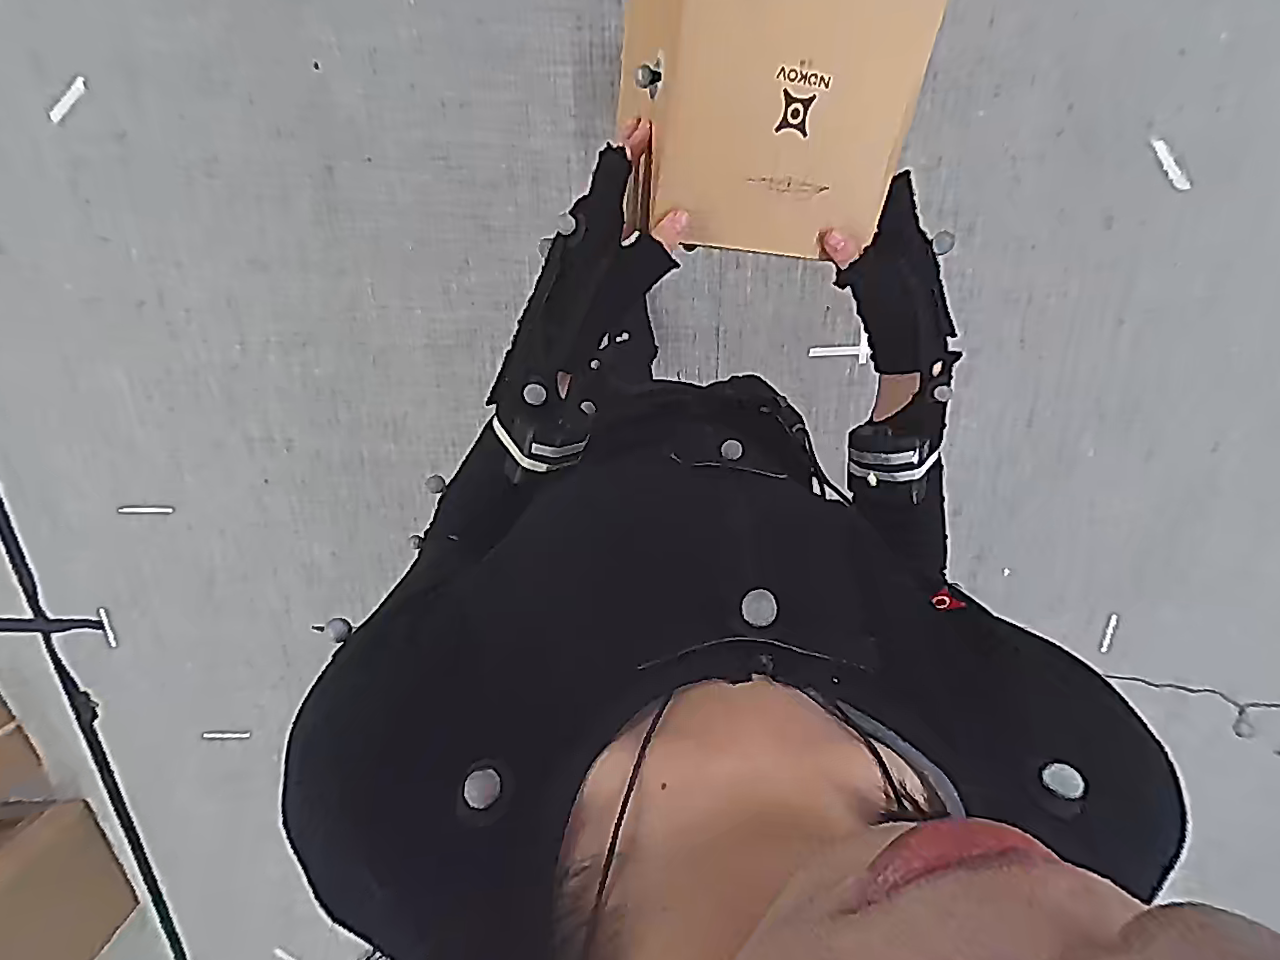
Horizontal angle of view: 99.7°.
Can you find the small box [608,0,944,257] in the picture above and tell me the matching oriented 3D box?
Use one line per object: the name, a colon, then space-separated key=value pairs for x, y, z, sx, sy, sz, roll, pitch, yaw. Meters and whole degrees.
small box: x=0.076 y=-0.278 z=0.396 sx=0.168 sy=0.176 sz=0.179 roll=0 pitch=121 yaw=-15
